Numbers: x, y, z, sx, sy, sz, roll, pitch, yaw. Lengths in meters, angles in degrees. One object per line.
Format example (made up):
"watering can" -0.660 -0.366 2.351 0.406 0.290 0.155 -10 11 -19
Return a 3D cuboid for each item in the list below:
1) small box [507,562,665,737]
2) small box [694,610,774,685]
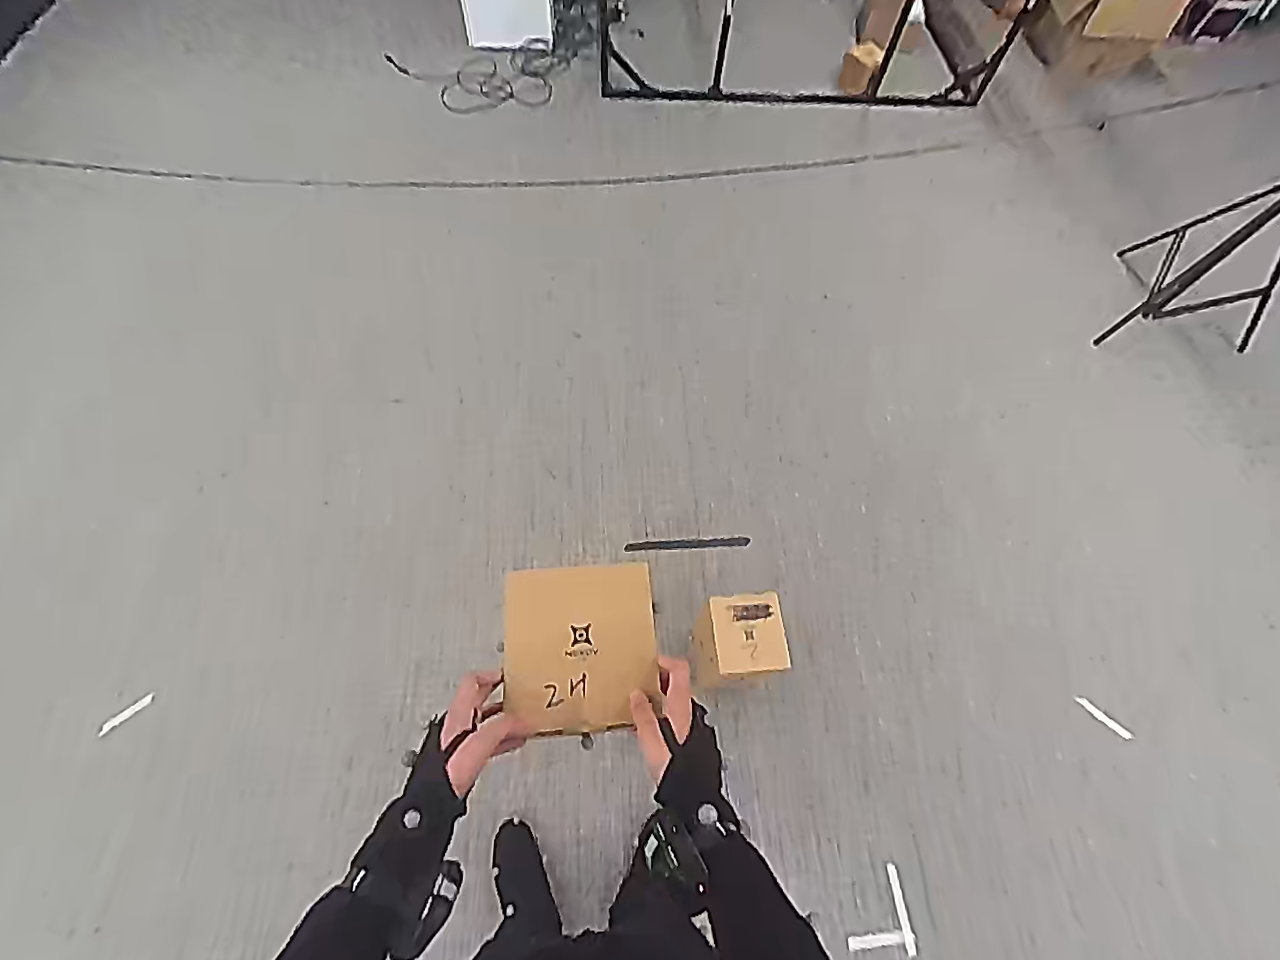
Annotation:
"small box" -0.065 0.212 0.663 0.168 0.176 0.179 -3 64 -4
"small box" 0.245 0.457 1.461 0.179 0.176 0.168 -2 63 -5
